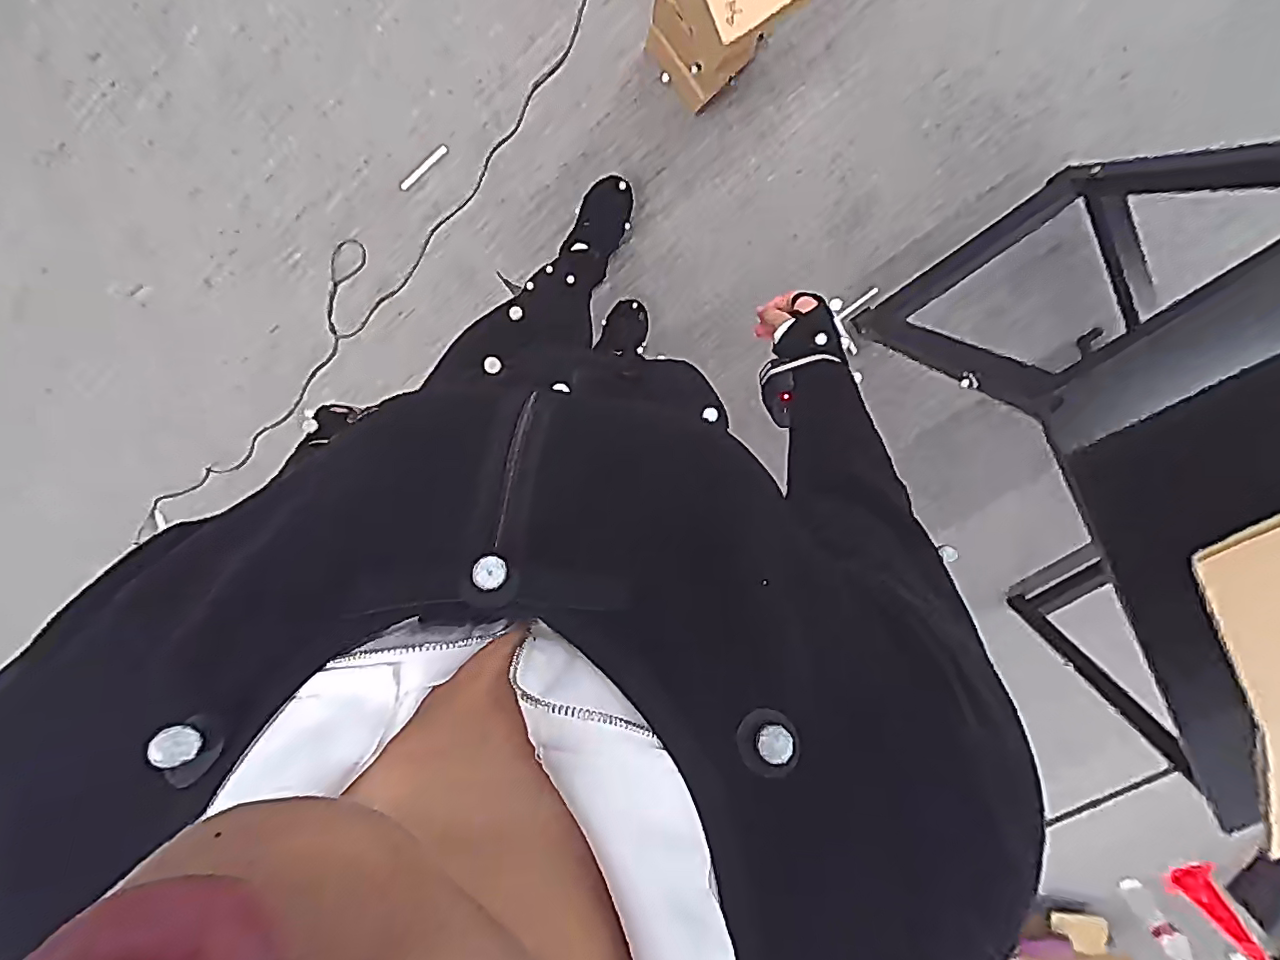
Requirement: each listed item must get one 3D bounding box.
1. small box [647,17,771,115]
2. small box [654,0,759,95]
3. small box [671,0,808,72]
[{"bbox_3d":[0.128,-0.877,1.082,0.179,0.176,0.168,-38,111,15],"label":"small box"},{"bbox_3d":[0.137,-0.815,0.933,0.179,0.176,0.168,-42,111,14],"label":"small box"},{"bbox_3d":[0.145,-0.743,0.785,0.179,0.176,0.168,-29,113,9],"label":"small box"}]
